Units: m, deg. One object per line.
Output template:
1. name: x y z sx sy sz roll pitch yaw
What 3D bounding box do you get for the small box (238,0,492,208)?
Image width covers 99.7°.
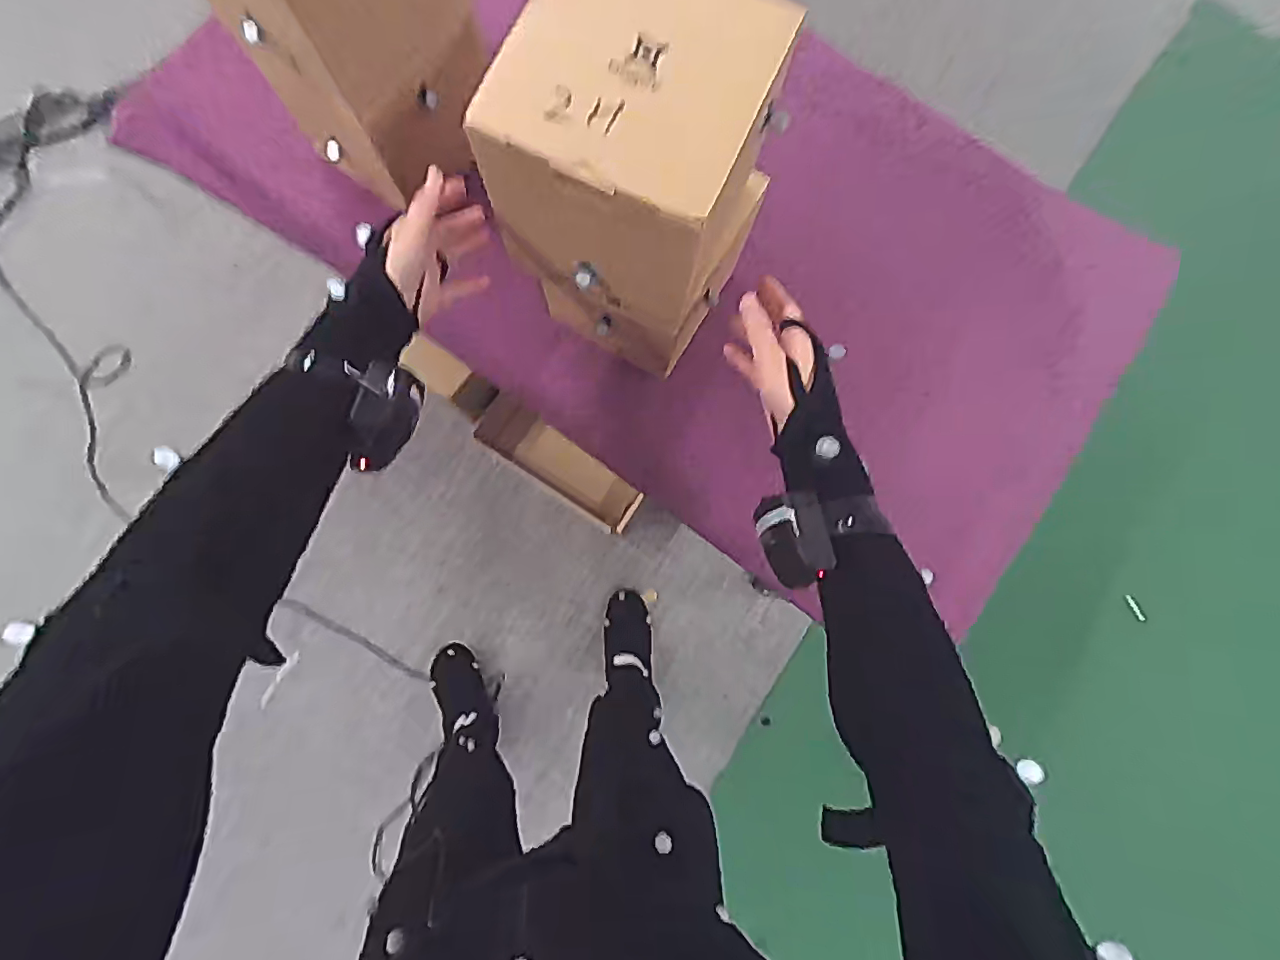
1. small box: -0.279 -0.458 0.609 0.168 0.176 0.179 37 83 2

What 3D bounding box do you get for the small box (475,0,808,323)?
1. small box: 0.000 -0.260 0.425 0.168 0.176 0.179 25 81 2

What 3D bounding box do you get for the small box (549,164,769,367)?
1. small box: 0.011 -0.253 0.593 0.168 0.176 0.179 31 82 2
